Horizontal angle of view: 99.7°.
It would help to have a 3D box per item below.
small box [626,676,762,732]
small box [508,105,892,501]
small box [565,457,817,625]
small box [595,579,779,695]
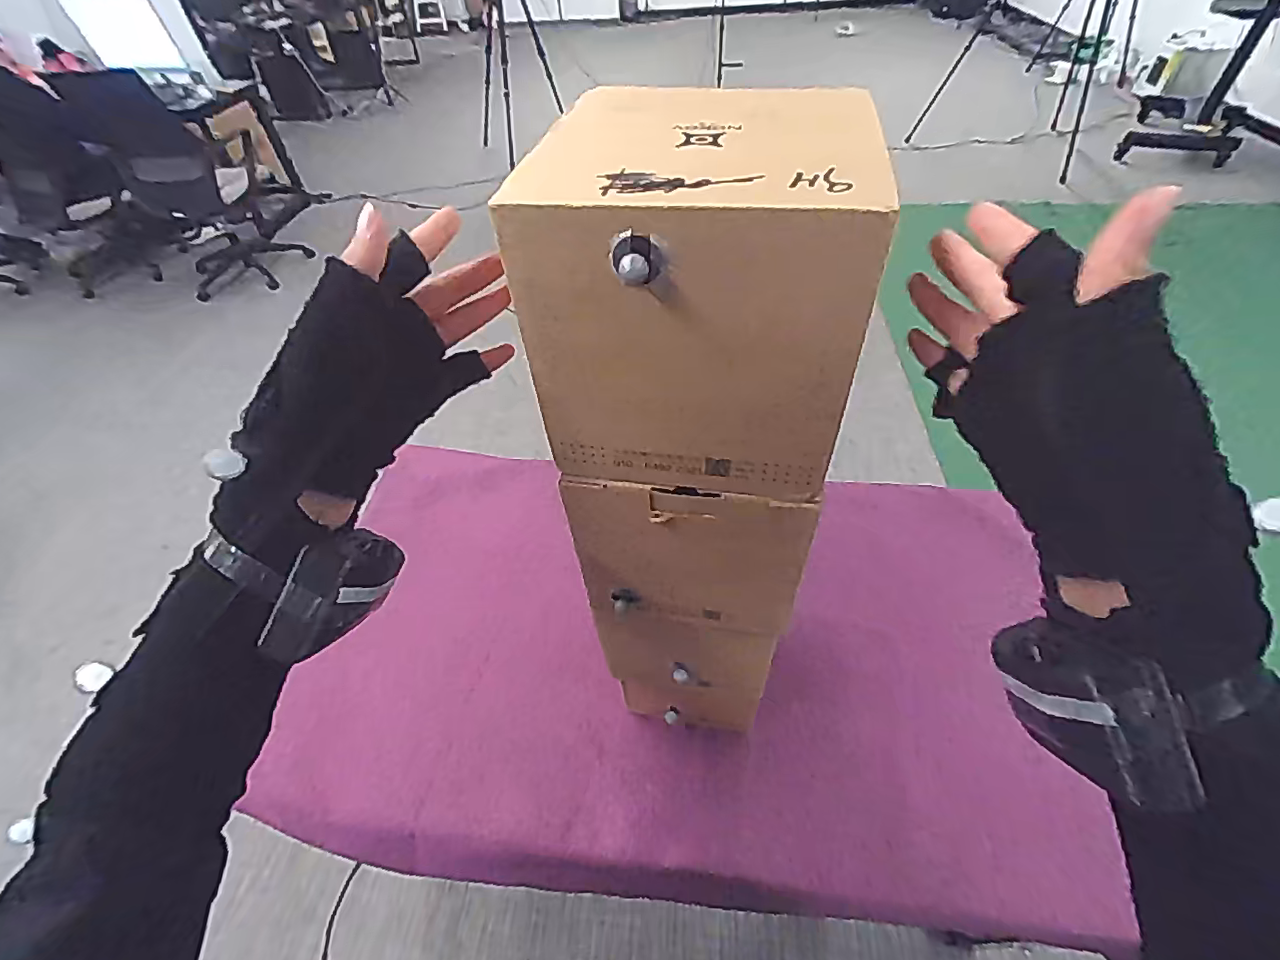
[{"bbox_3d":[0.074,0.203,0.711,0.168,0.176,0.179,6,49,10],"label":"small box"},{"bbox_3d":[0.041,-0.113,0.336,0.168,0.176,0.179,7,47,11],"label":"small box"},{"bbox_3d":[0.051,0.000,0.454,0.168,0.176,0.179,6,47,10],"label":"small box"},{"bbox_3d":[0.057,0.104,0.581,0.168,0.176,0.179,5,48,10],"label":"small box"}]
